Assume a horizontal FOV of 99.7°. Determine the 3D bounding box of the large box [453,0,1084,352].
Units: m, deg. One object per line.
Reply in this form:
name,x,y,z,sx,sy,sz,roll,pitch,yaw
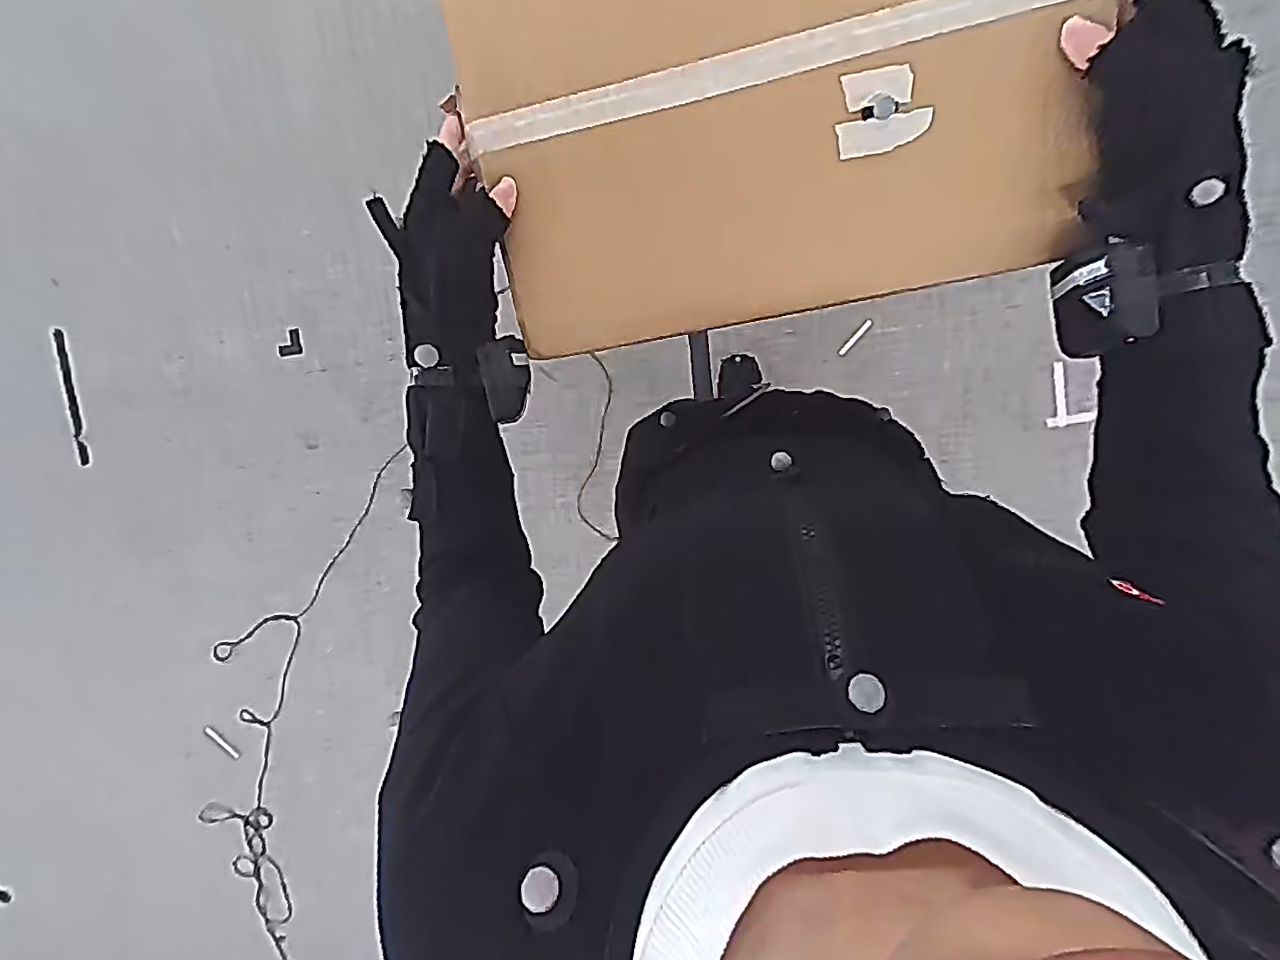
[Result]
large box,0.095,-0.320,0.507,0.408,0.320,0.320,-9,106,8
